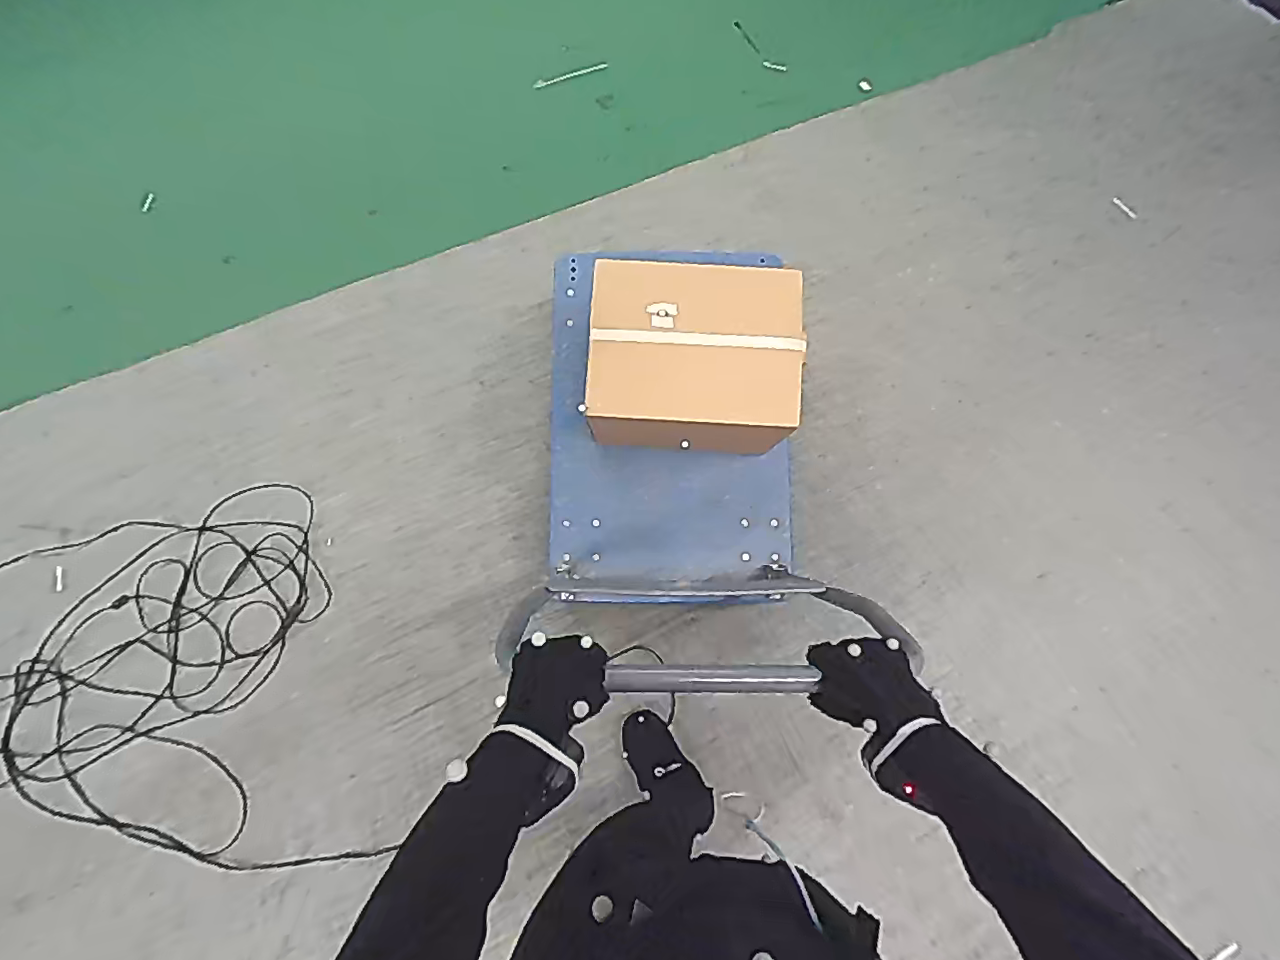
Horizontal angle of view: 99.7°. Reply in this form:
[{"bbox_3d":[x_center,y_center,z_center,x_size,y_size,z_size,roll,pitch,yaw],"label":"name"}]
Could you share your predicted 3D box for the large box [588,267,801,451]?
[{"bbox_3d":[0.111,-0.240,1.169,0.408,0.320,0.320,2,83,2],"label":"large box"}]
